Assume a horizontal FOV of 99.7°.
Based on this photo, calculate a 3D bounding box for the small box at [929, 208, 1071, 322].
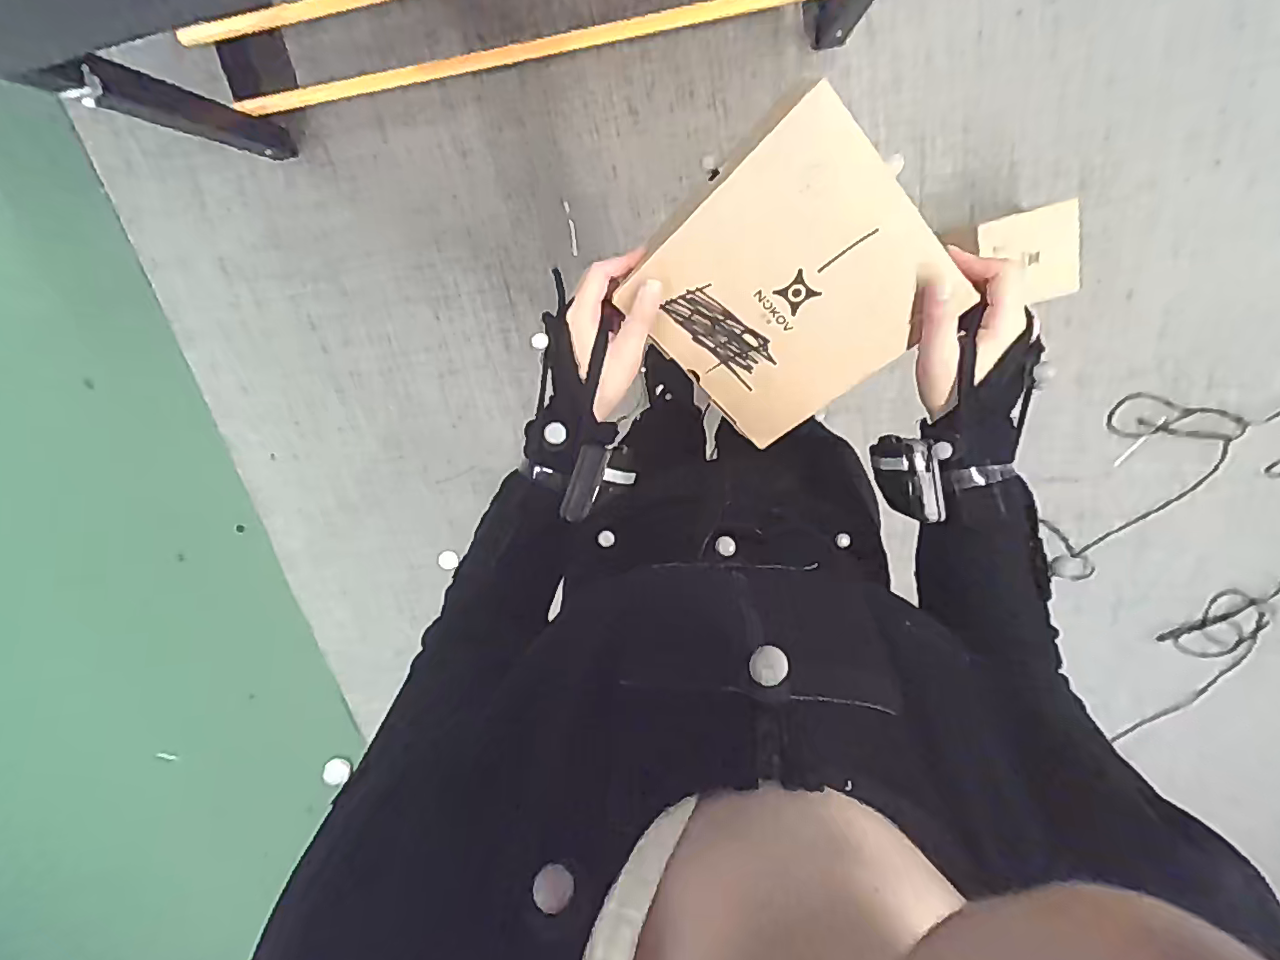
[{"bbox_3d":[0.712,-0.425,1.081,0.179,0.176,0.168,-14,107,8],"label":"small box"}]
